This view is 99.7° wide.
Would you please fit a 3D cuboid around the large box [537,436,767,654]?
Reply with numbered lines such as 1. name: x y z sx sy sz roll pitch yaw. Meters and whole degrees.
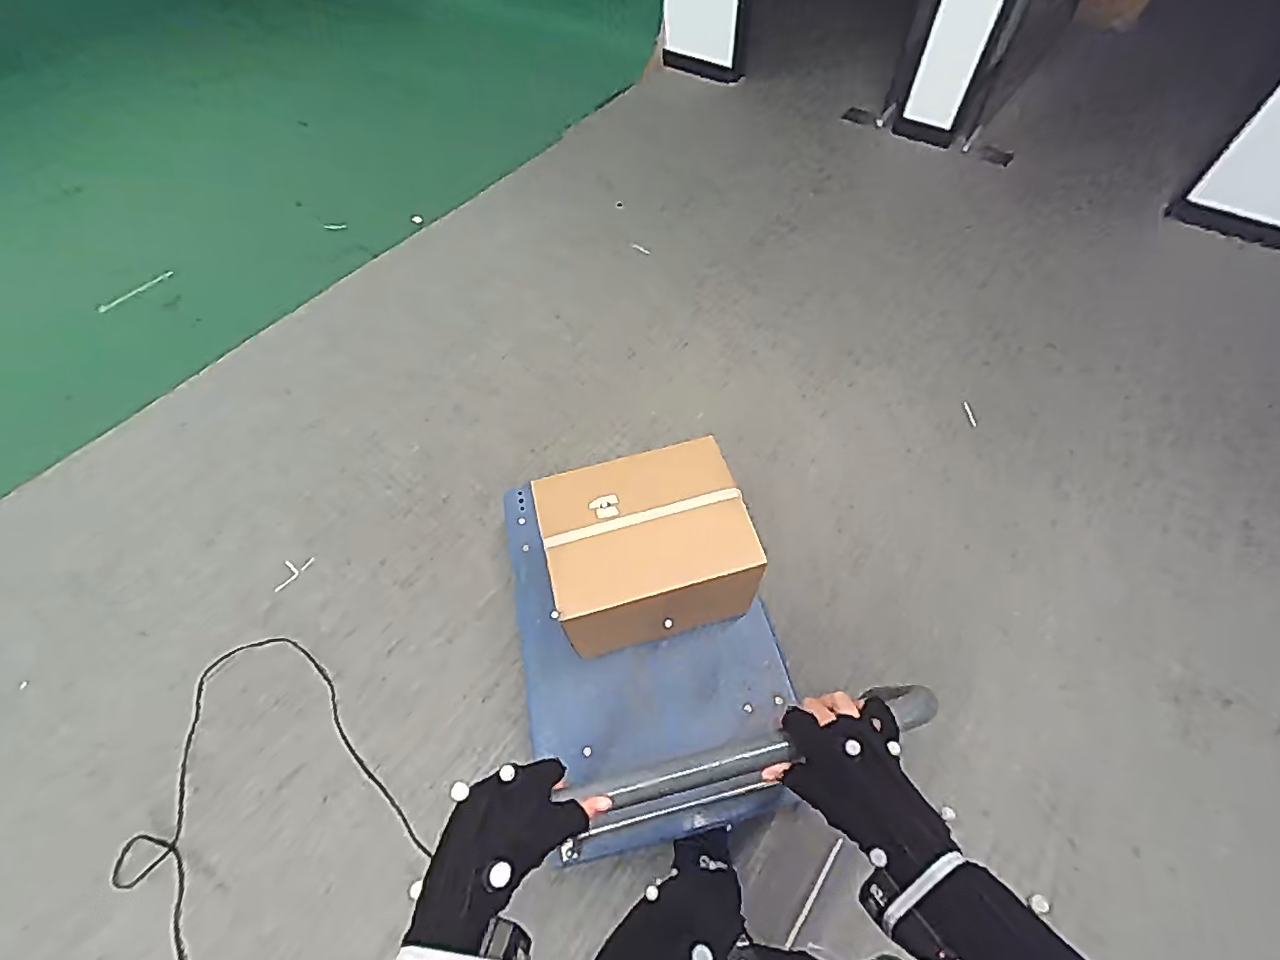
1. large box: 0.020 0.154 1.210 0.408 0.320 0.320 -15 58 -6
